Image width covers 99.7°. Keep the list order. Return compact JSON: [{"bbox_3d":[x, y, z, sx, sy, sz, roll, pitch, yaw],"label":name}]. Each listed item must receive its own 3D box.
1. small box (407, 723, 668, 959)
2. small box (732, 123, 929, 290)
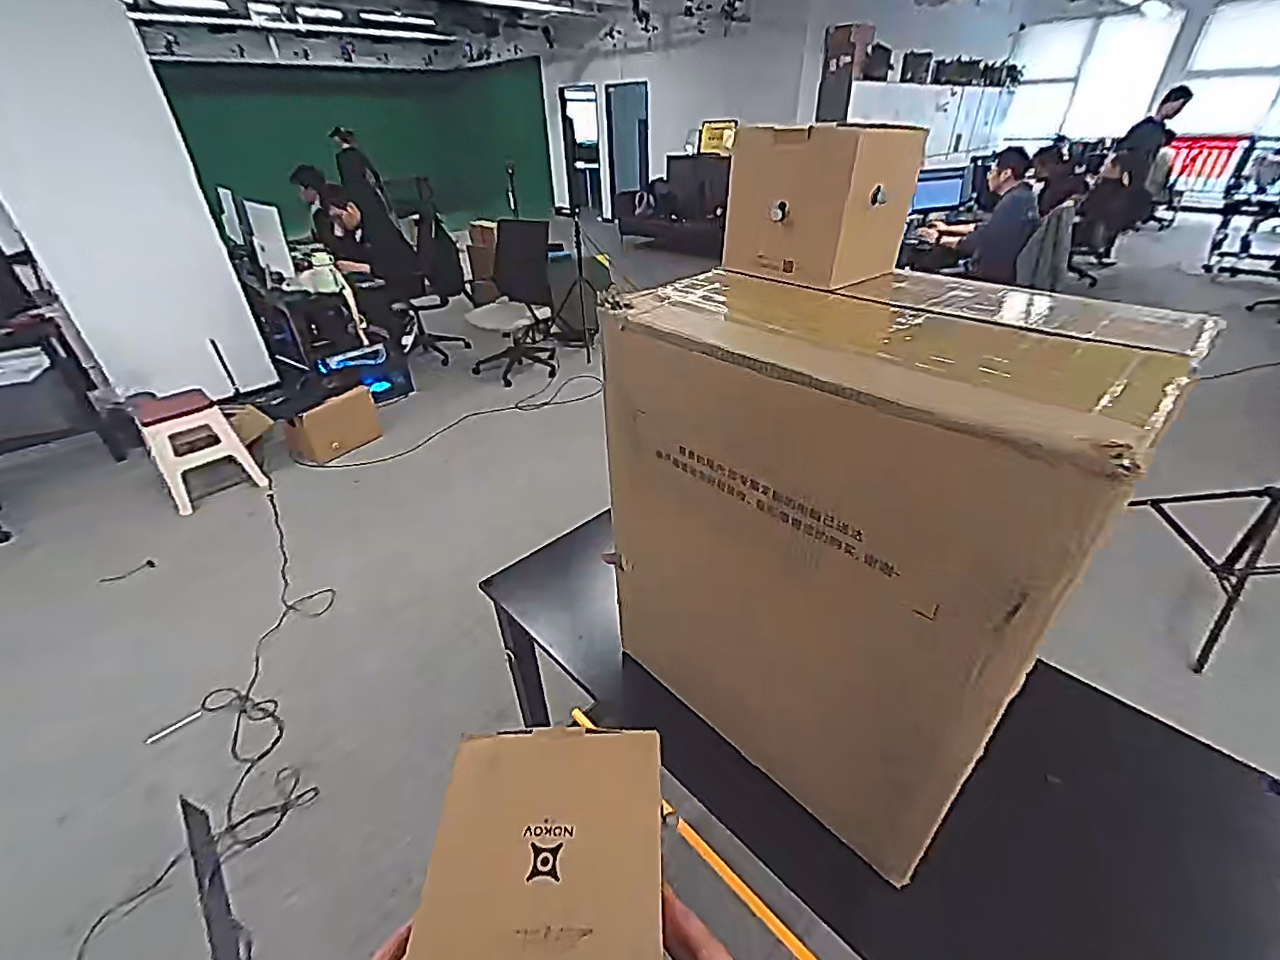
[{"bbox_3d":[-0.062,0.319,0.436,0.168,0.176,0.179,-1,42,2],"label":"small box"},{"bbox_3d":[0.231,-0.351,0.689,0.179,0.176,0.168,-28,43,-36],"label":"small box"}]
